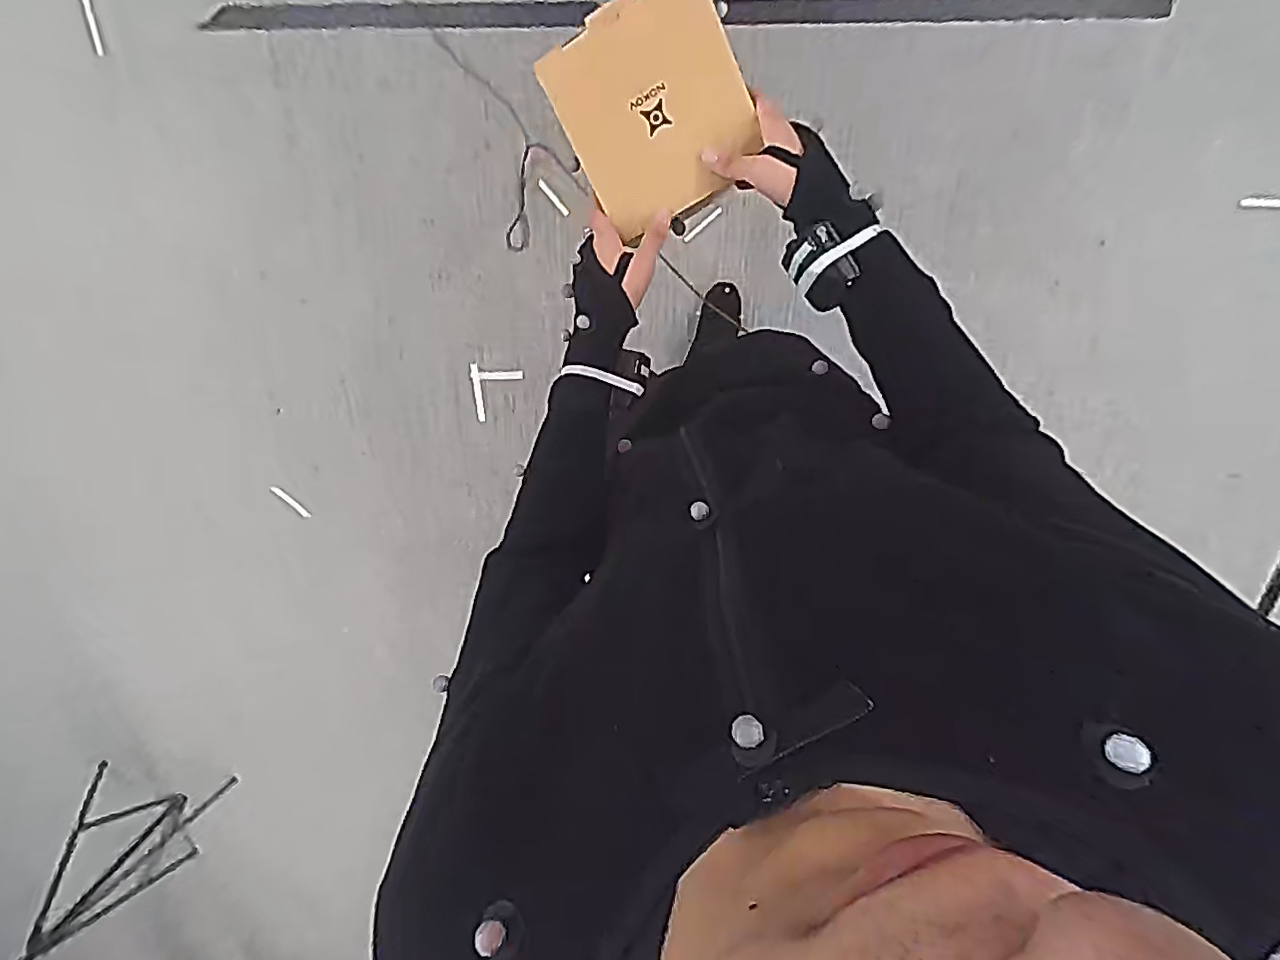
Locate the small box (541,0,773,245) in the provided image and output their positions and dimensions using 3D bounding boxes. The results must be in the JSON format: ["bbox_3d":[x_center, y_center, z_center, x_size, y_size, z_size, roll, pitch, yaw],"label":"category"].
[{"bbox_3d":[0.024,-0.372,0.577,0.168,0.176,0.179,-25,107,13],"label":"small box"}]
